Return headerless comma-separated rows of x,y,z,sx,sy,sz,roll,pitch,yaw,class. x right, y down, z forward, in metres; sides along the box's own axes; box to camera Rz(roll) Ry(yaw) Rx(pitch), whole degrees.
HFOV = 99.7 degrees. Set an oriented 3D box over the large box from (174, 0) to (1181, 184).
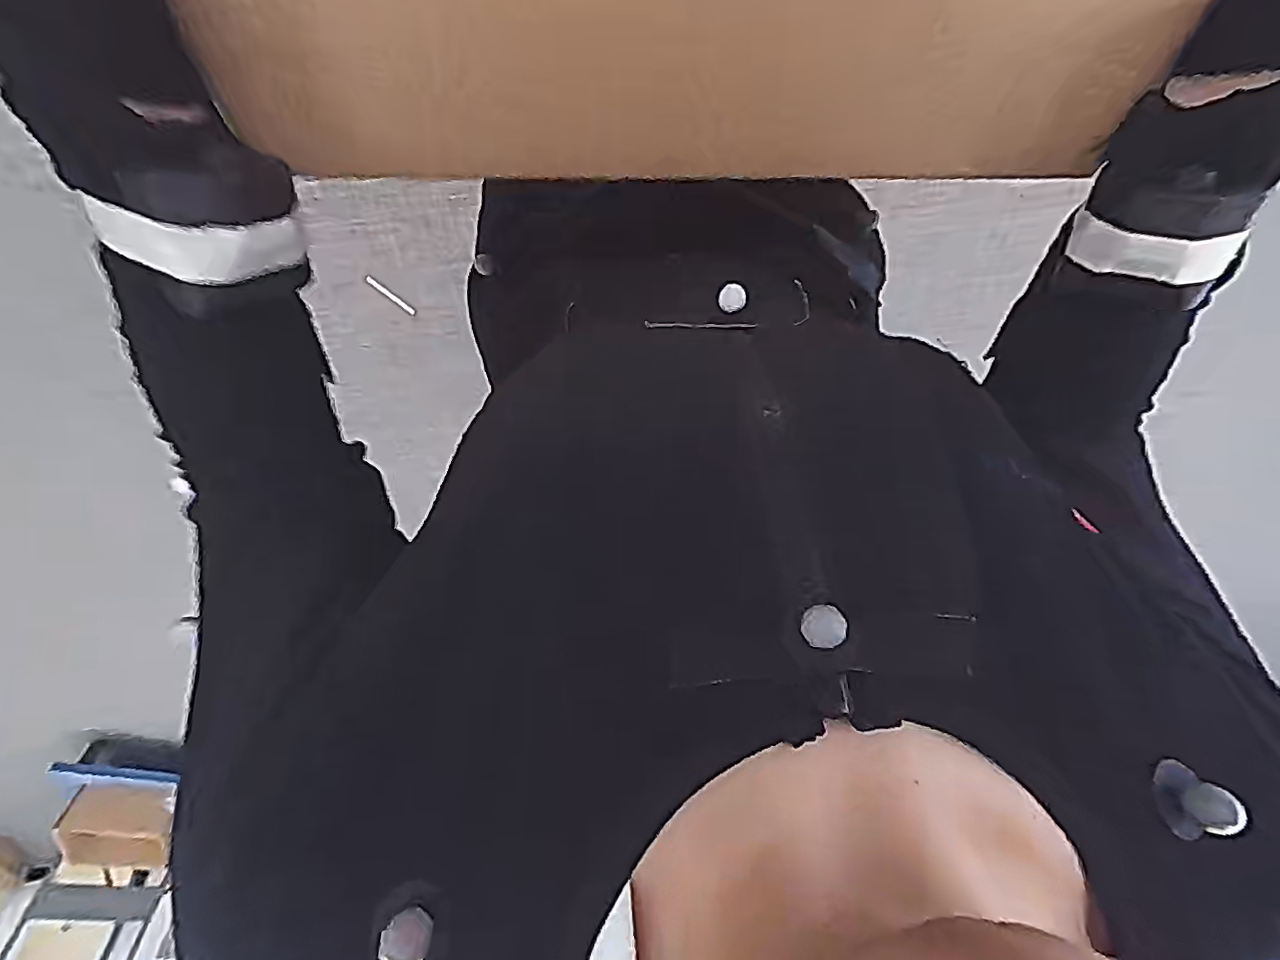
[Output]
0.018,-0.357,0.215,0.408,0.320,0.320,-1,149,-2,large box
